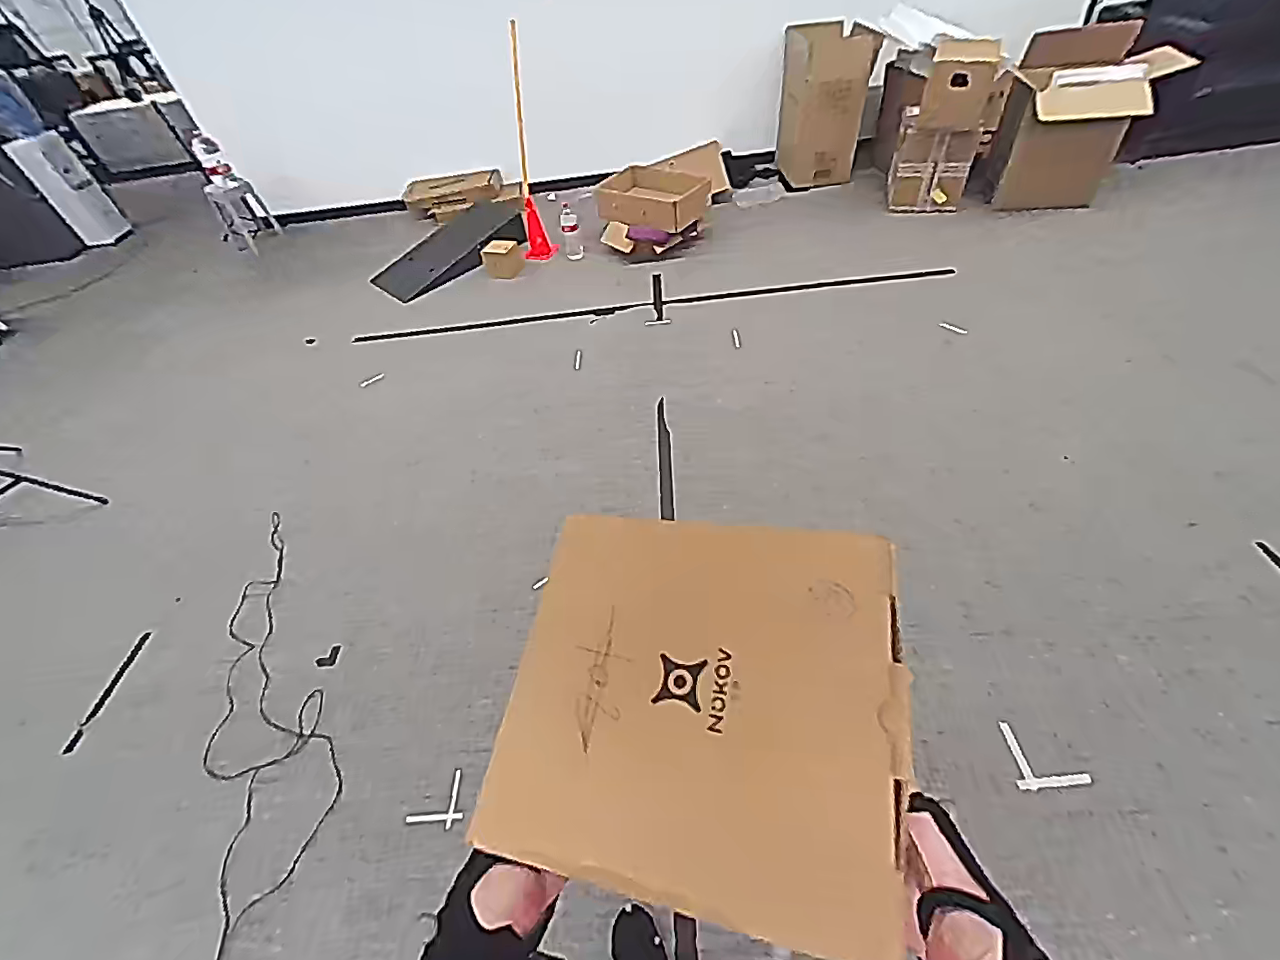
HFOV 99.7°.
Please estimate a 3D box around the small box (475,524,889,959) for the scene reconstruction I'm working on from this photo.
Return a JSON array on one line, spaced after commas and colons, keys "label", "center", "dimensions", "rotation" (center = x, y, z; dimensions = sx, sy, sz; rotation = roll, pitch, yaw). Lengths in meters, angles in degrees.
[{"label": "small box", "center": [0.043, 0.142, 0.321], "dimensions": [0.179, 0.176, 0.168], "rotation": [2, 58, 20]}]
